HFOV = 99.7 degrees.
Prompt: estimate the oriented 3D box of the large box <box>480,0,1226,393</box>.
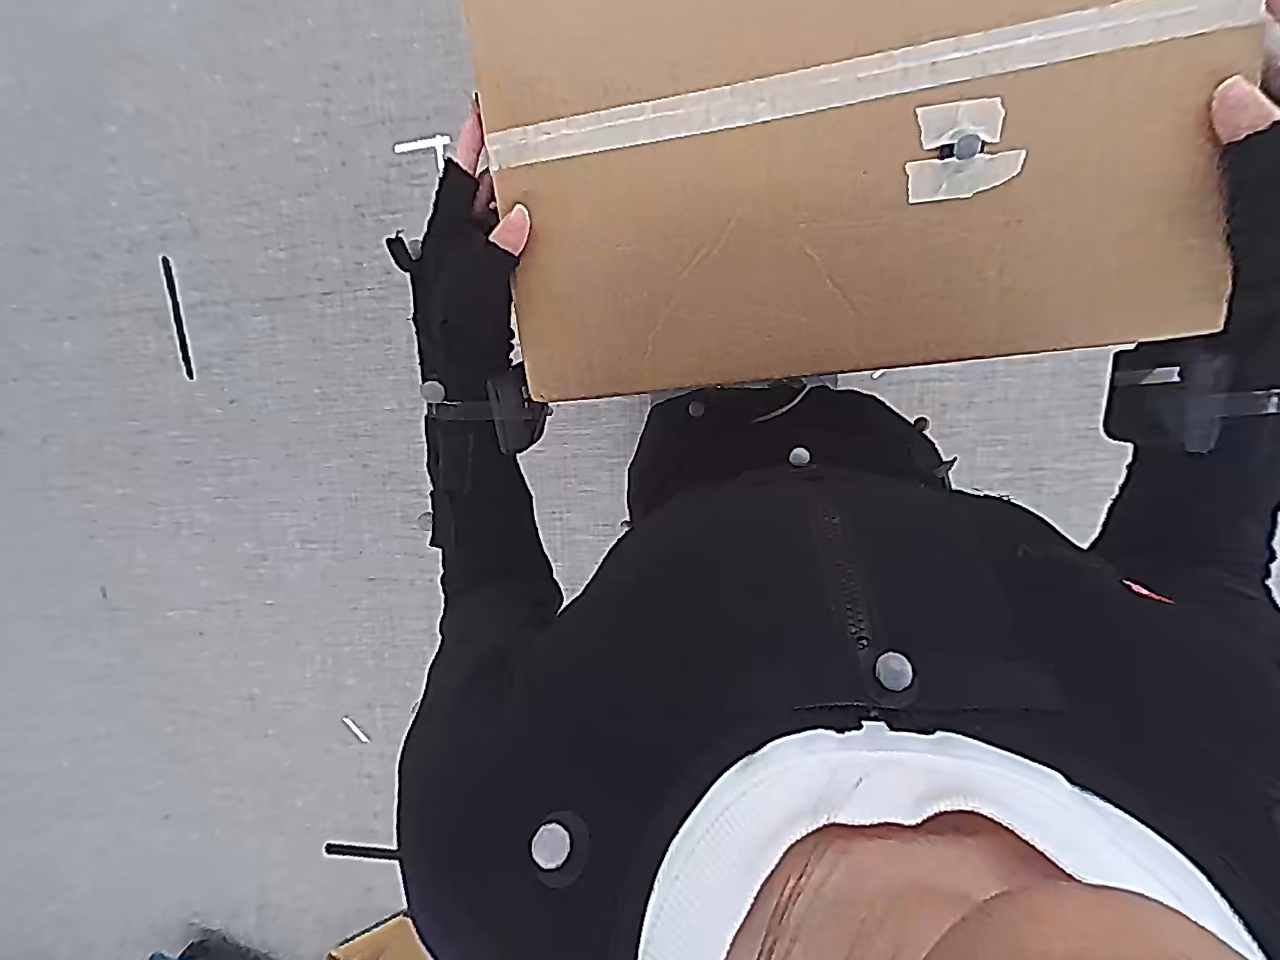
[{"bbox_3d":[0.127,-0.262,0.456,0.408,0.320,0.320,-5,104,10],"label":"large box"}]
